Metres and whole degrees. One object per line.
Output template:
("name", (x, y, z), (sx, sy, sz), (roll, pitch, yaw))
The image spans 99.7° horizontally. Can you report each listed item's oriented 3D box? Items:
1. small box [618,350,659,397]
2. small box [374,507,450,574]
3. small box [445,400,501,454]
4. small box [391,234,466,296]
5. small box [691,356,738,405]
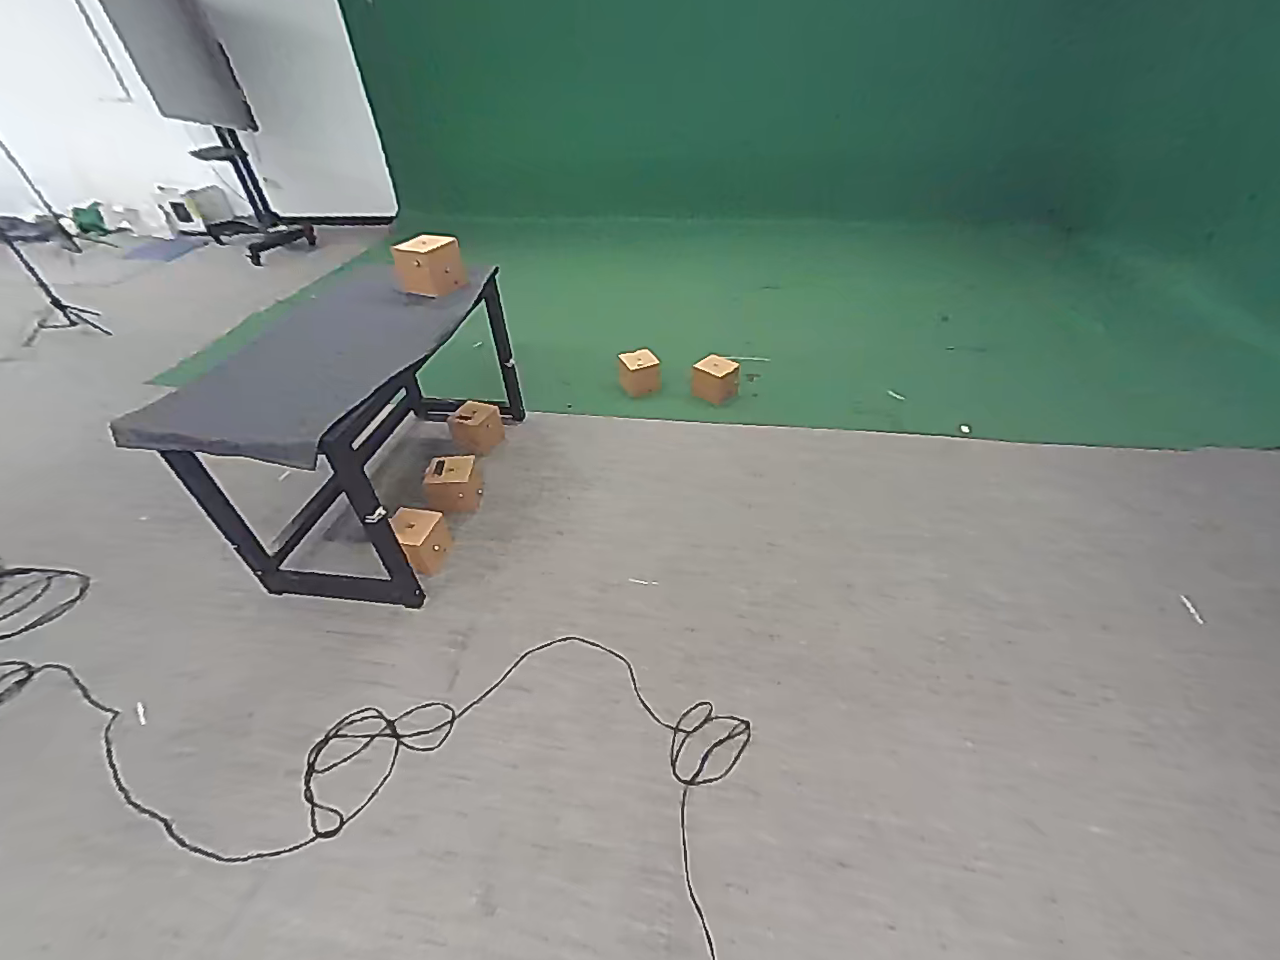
("small box", (-0.008, -0.554, 2.823), (0.168, 0.176, 0.179), (-17, 42, -16))
("small box", (-0.818, 0.224, 1.964), (0.179, 0.176, 0.168), (7, 42, 11))
("small box", (-0.760, -0.242, 2.492), (0.168, 0.176, 0.179), (13, 42, 17))
("small box", (-0.784, -0.804, 2.026), (0.179, 0.176, 0.168), (17, 44, 25))
("small box", (0.376, -0.500, 2.743), (0.179, 0.176, 0.168), (30, 49, 33))
